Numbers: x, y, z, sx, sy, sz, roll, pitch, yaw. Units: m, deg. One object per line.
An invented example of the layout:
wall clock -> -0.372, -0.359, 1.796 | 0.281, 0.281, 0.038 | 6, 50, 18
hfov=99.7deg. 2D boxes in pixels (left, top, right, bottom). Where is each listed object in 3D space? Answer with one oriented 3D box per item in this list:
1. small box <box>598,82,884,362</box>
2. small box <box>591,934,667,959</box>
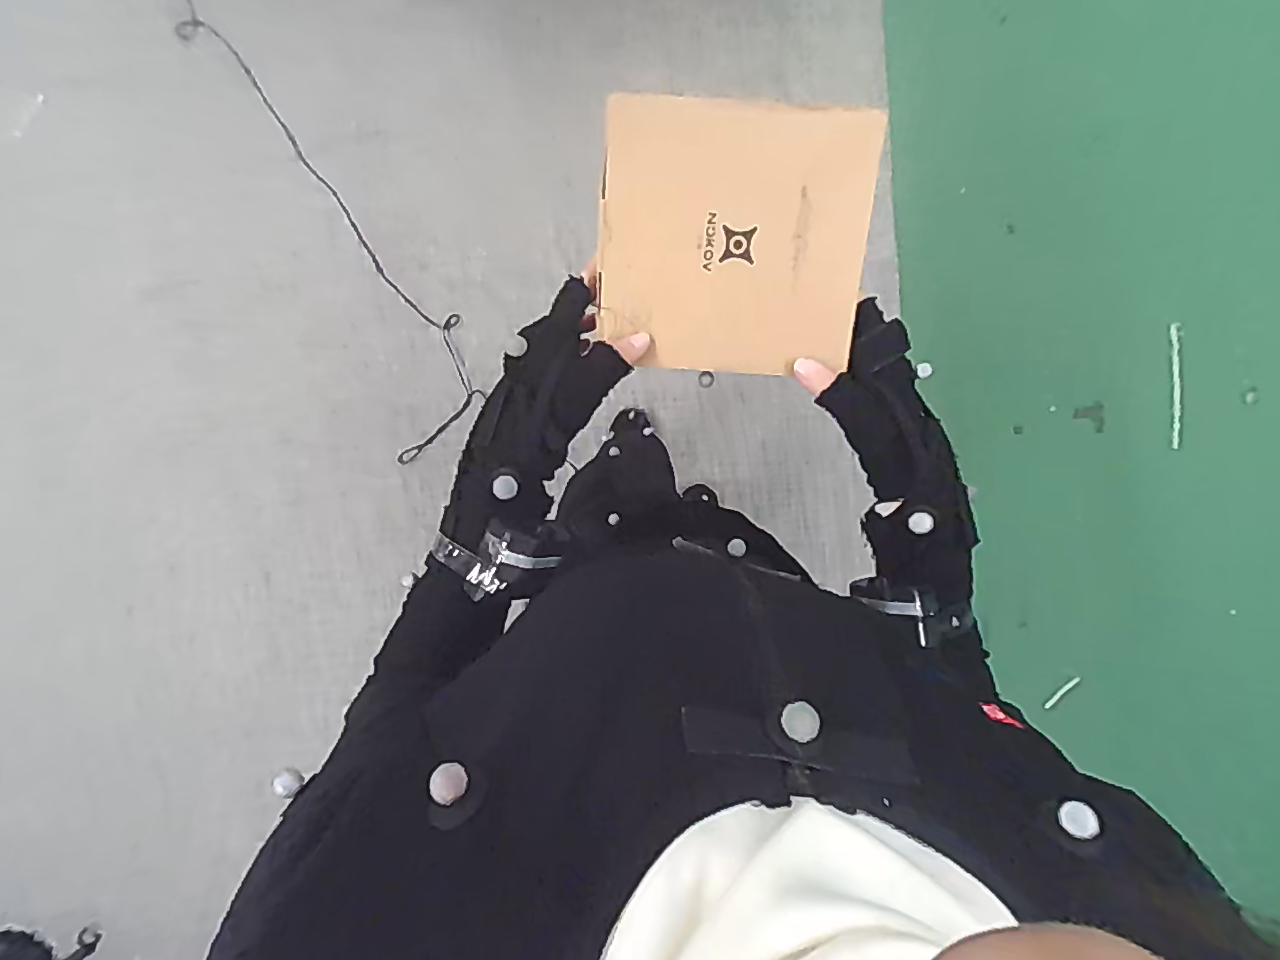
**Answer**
small box -> 0.063, -0.186, 0.431 | 0.179, 0.176, 0.168 | 2, 107, 0
small box -> -0.026, 1.115, 1.148 | 0.168, 0.176, 0.179 | -1, 93, 4
